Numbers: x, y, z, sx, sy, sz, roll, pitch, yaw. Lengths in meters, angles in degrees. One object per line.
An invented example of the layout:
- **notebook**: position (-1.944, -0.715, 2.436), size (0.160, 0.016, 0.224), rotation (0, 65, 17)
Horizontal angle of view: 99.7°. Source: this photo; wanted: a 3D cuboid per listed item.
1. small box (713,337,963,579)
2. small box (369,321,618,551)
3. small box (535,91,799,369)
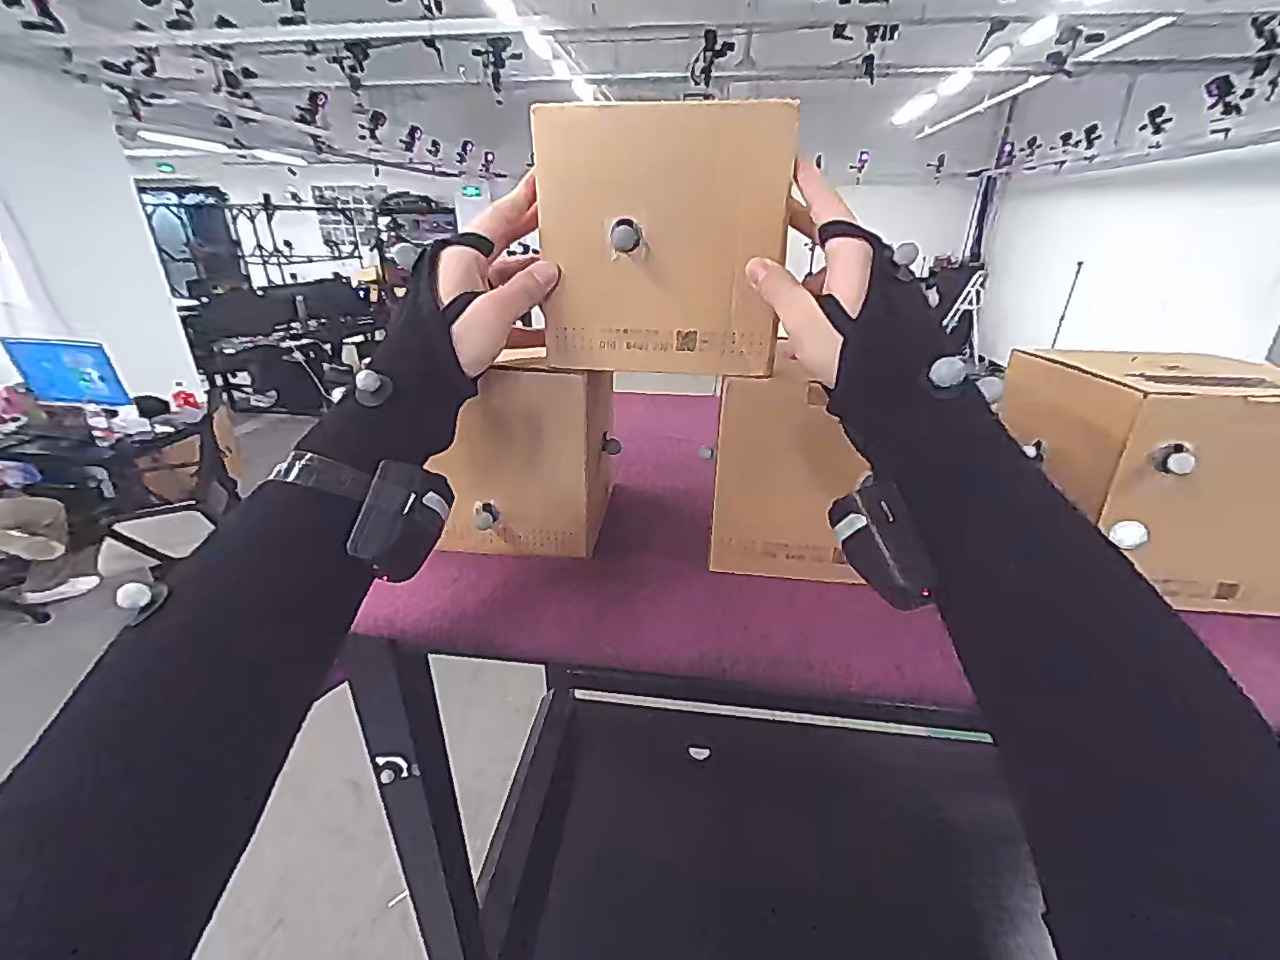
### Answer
- **small box**: position (0.154, -0.029, 0.482), size (0.168, 0.176, 0.179), rotation (3, 24, 8)
- **small box**: position (-0.117, -0.047, 0.508), size (0.179, 0.176, 0.168), rotation (4, 24, 3)
- **small box**: position (0.027, -0.189, 0.434), size (0.168, 0.176, 0.179), rotation (3, 24, 7)
